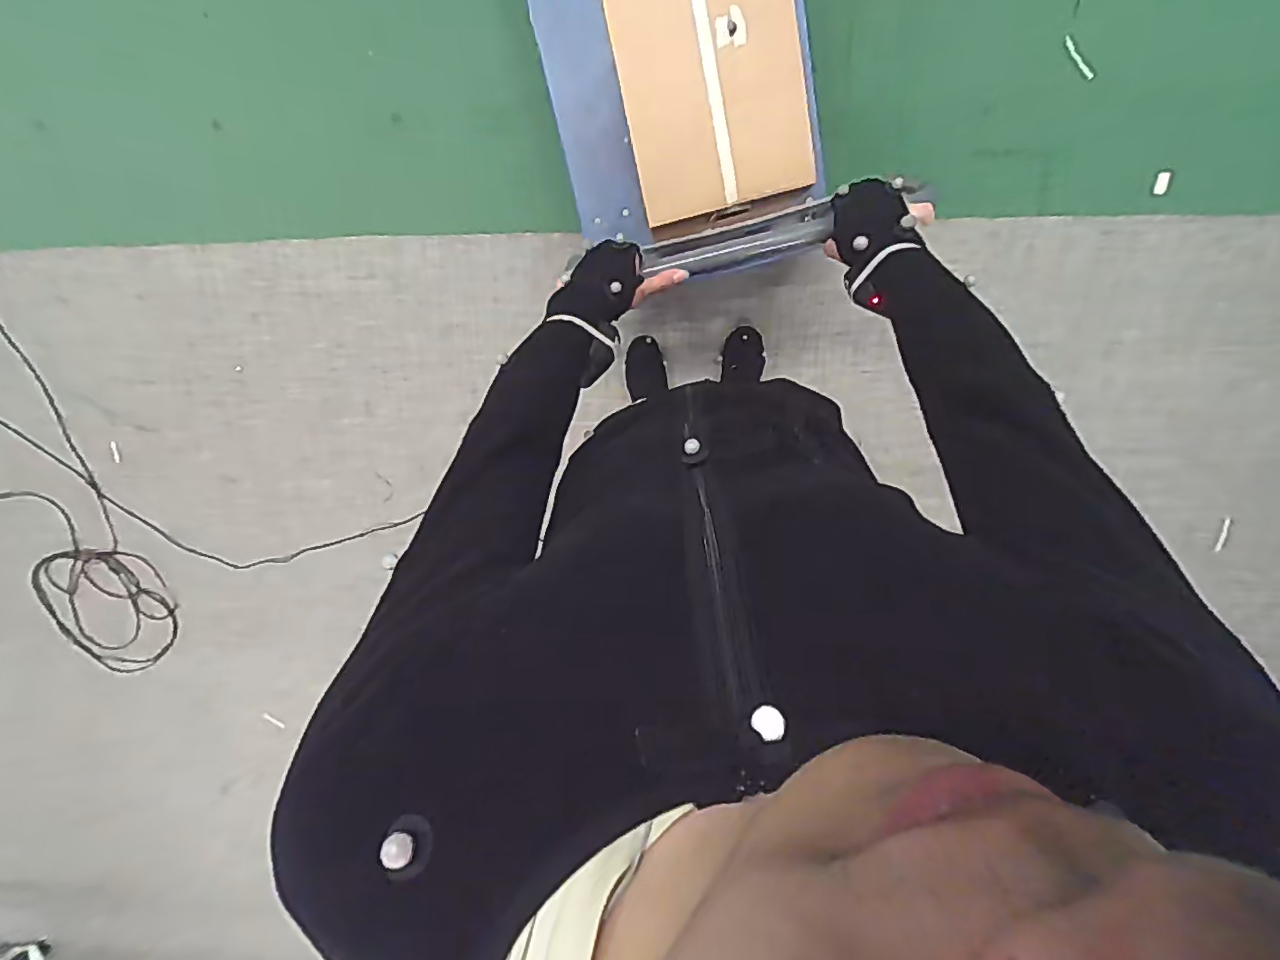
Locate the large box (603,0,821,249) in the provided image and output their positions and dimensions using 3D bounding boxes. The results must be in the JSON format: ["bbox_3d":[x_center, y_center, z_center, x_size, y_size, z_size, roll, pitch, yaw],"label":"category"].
[{"bbox_3d":[0.141,-0.723,1.075,0.320,0.320,0.408,-12,105,7],"label":"large box"}]
